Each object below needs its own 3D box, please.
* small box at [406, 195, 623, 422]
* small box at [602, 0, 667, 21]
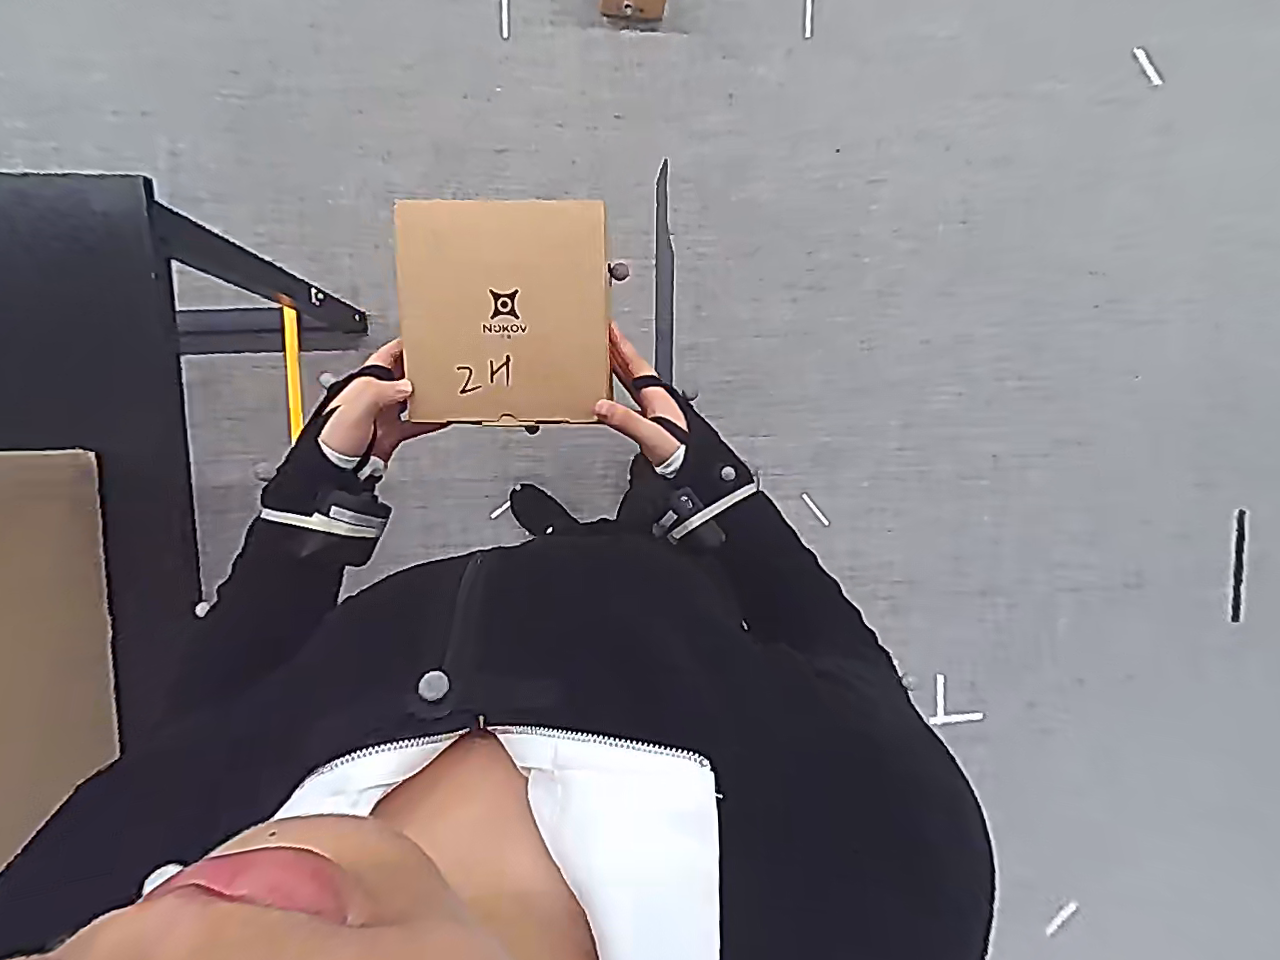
[{"bbox_3d":[-0.102,-0.146,0.511,0.168,0.176,0.179,0,99,0],"label":"small box"},{"bbox_3d":[-0.011,-1.277,1.316,0.168,0.176,0.179,-1,96,-5],"label":"small box"}]
